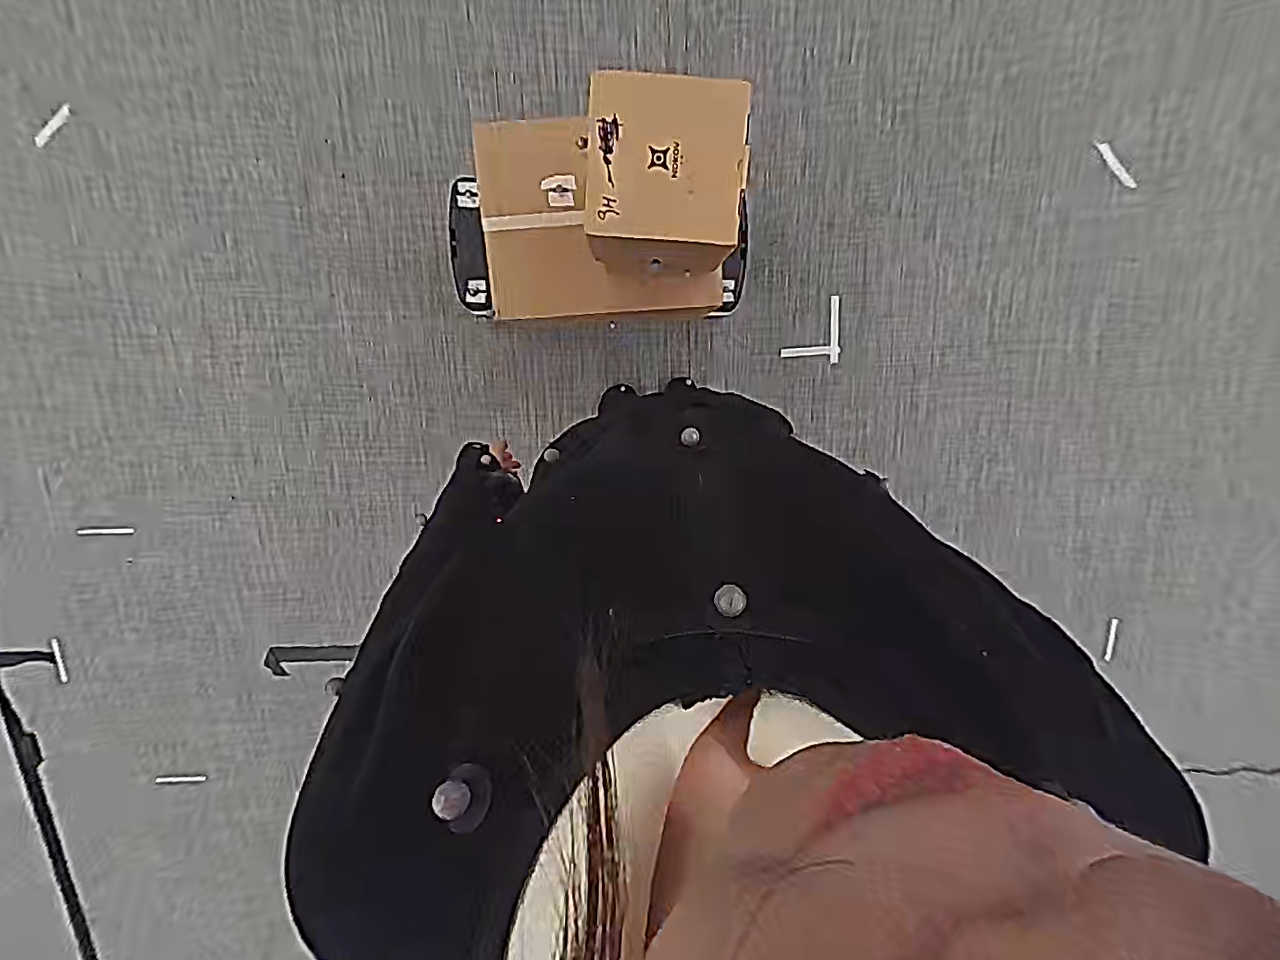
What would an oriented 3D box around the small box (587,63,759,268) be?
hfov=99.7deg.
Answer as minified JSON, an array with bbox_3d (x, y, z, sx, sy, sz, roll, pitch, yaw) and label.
[{"bbox_3d":[0.030,-0.364,0.660,0.179,0.176,0.168,4,101,-3],"label":"small box"}]

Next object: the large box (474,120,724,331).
[{"bbox_3d":[-0.063,-0.470,1.054,0.408,0.320,0.320,-4,101,1],"label":"large box"}]

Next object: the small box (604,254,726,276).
[{"bbox_3d":[0.033,-0.409,0.818,0.179,0.176,0.168,0,102,0],"label":"small box"}]
